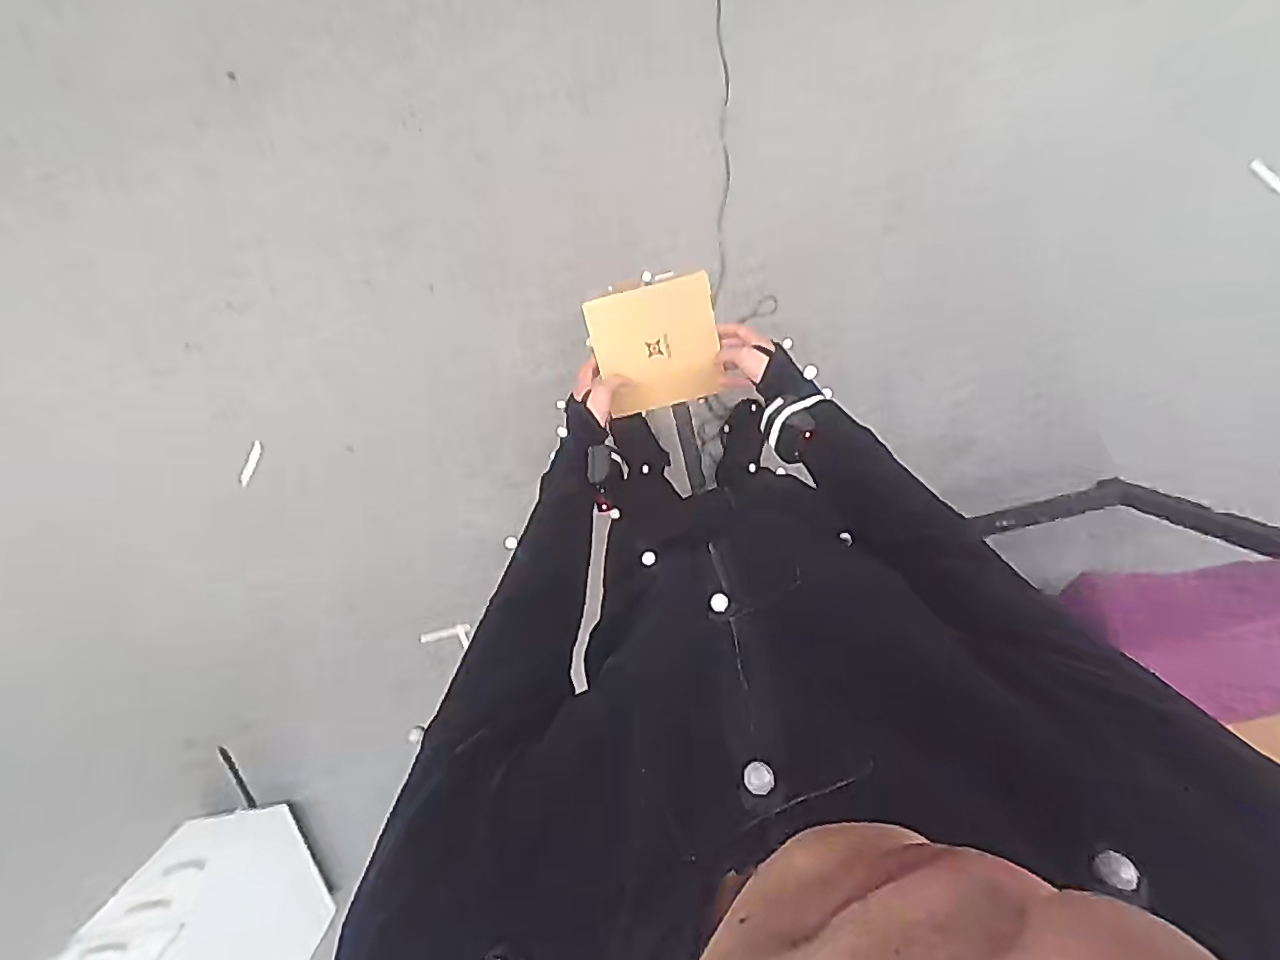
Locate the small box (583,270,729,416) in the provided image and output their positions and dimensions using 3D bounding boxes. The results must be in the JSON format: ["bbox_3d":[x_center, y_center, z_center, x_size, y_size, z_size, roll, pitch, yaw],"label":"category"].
[{"bbox_3d":[0.023,-0.211,0.821,0.179,0.176,0.168,-14,110,3],"label":"small box"}]
